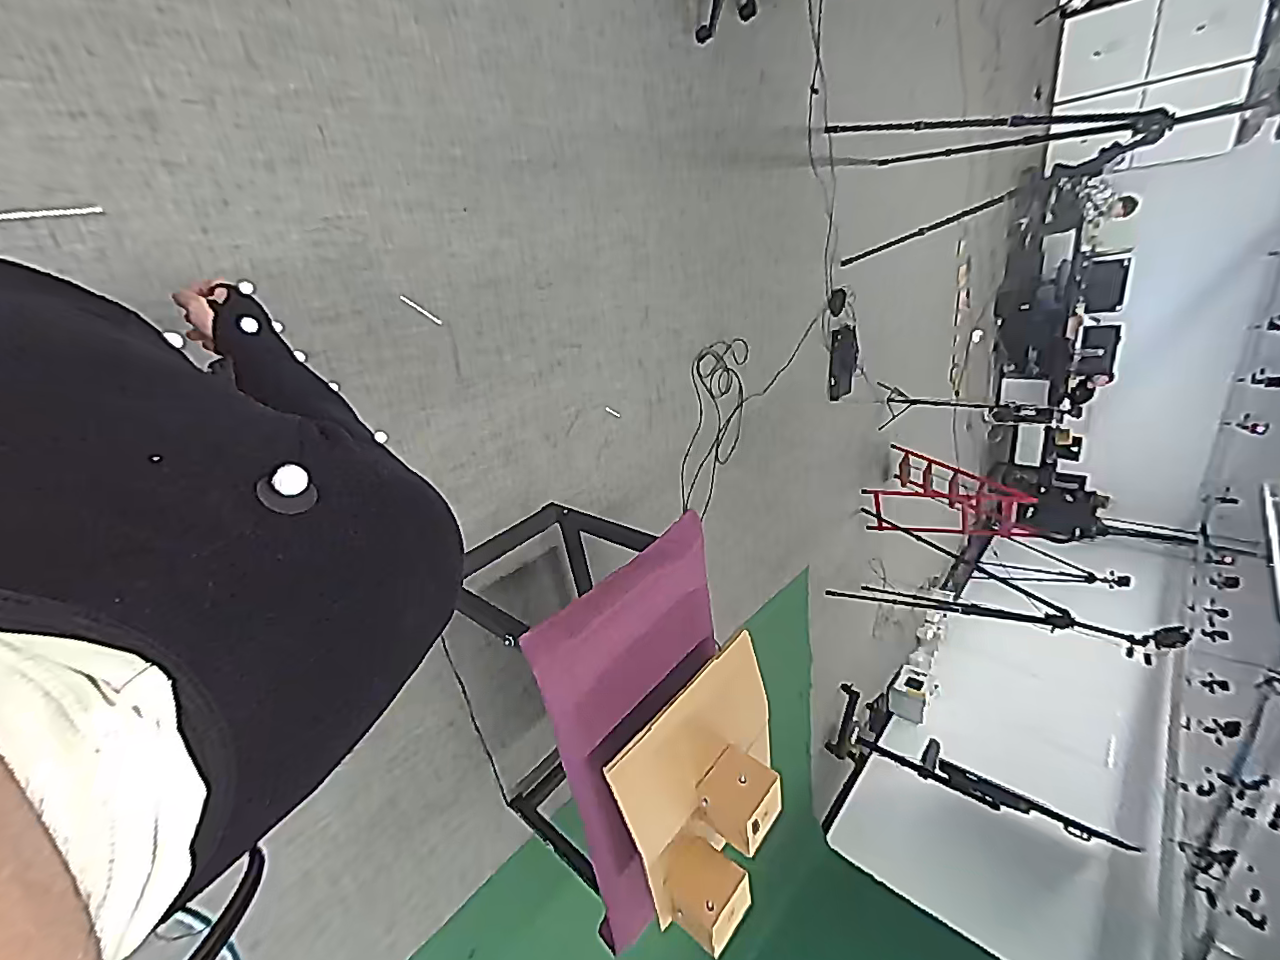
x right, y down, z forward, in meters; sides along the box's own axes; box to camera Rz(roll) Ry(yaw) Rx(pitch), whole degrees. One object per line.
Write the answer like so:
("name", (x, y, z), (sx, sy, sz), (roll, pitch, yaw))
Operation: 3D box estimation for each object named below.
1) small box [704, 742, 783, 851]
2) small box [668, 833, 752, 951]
("small box", (0.296, 0.912, 1.571), (0.179, 0.176, 0.168), (-34, 126, -38))
("small box", (0.204, 1.176, 1.557), (0.179, 0.176, 0.168), (-32, 125, -37))
